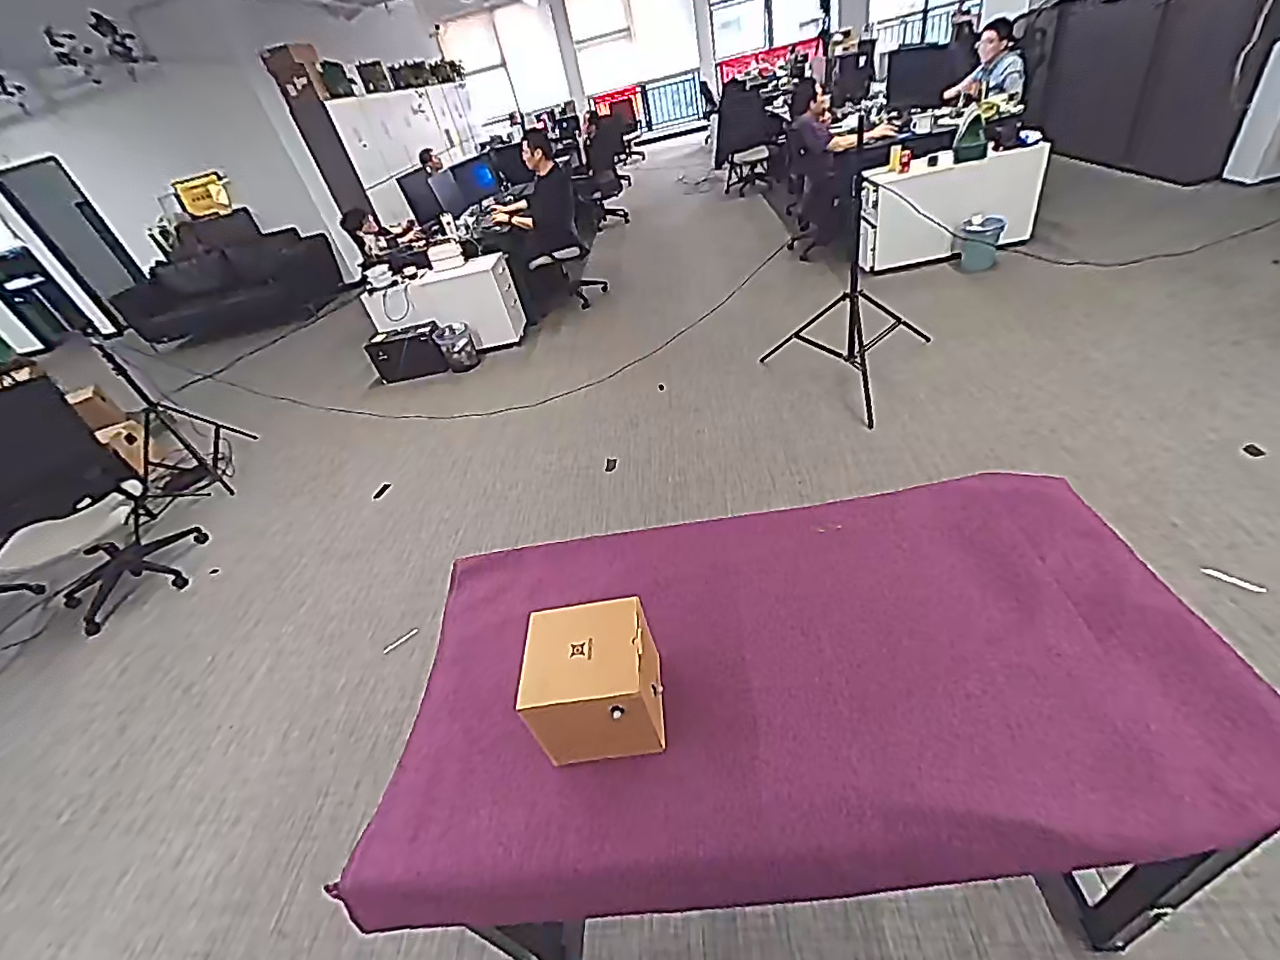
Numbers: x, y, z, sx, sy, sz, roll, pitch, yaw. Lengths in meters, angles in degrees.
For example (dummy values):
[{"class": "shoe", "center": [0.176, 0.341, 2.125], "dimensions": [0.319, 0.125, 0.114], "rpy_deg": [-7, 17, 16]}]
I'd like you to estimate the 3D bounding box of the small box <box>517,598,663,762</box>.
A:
[{"class": "small box", "center": [-0.068, 0.310, 0.830], "dimensions": [0.179, 0.176, 0.168], "rpy_deg": [-10, 37, 5]}]
